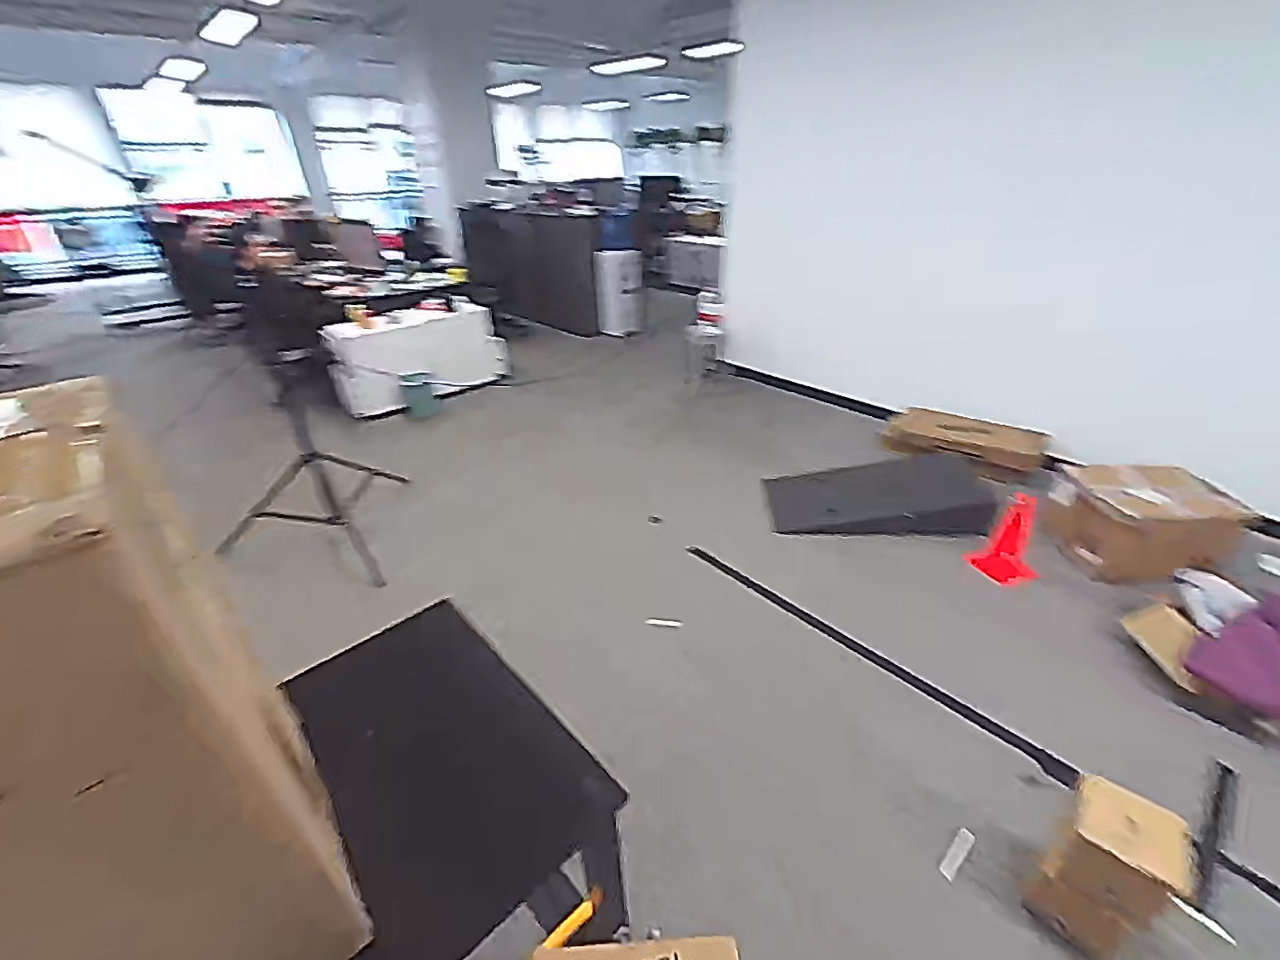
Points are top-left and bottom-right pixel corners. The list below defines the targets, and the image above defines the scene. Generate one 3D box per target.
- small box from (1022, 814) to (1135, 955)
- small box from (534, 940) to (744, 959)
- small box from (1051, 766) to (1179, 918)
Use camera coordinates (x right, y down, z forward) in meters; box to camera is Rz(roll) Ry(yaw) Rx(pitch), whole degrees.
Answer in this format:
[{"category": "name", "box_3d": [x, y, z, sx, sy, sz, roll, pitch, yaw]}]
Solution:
[{"category": "small box", "box_3d": [1.012, 0.922, 1.244, 0.168, 0.176, 0.179, 24, 40, 38]}, {"category": "small box", "box_3d": [0.005, 0.479, 0.397, 0.168, 0.176, 0.179, -3, 34, -1]}, {"category": "small box", "box_3d": [1.017, 0.776, 1.166, 0.168, 0.176, 0.179, 20, 37, 35]}]
